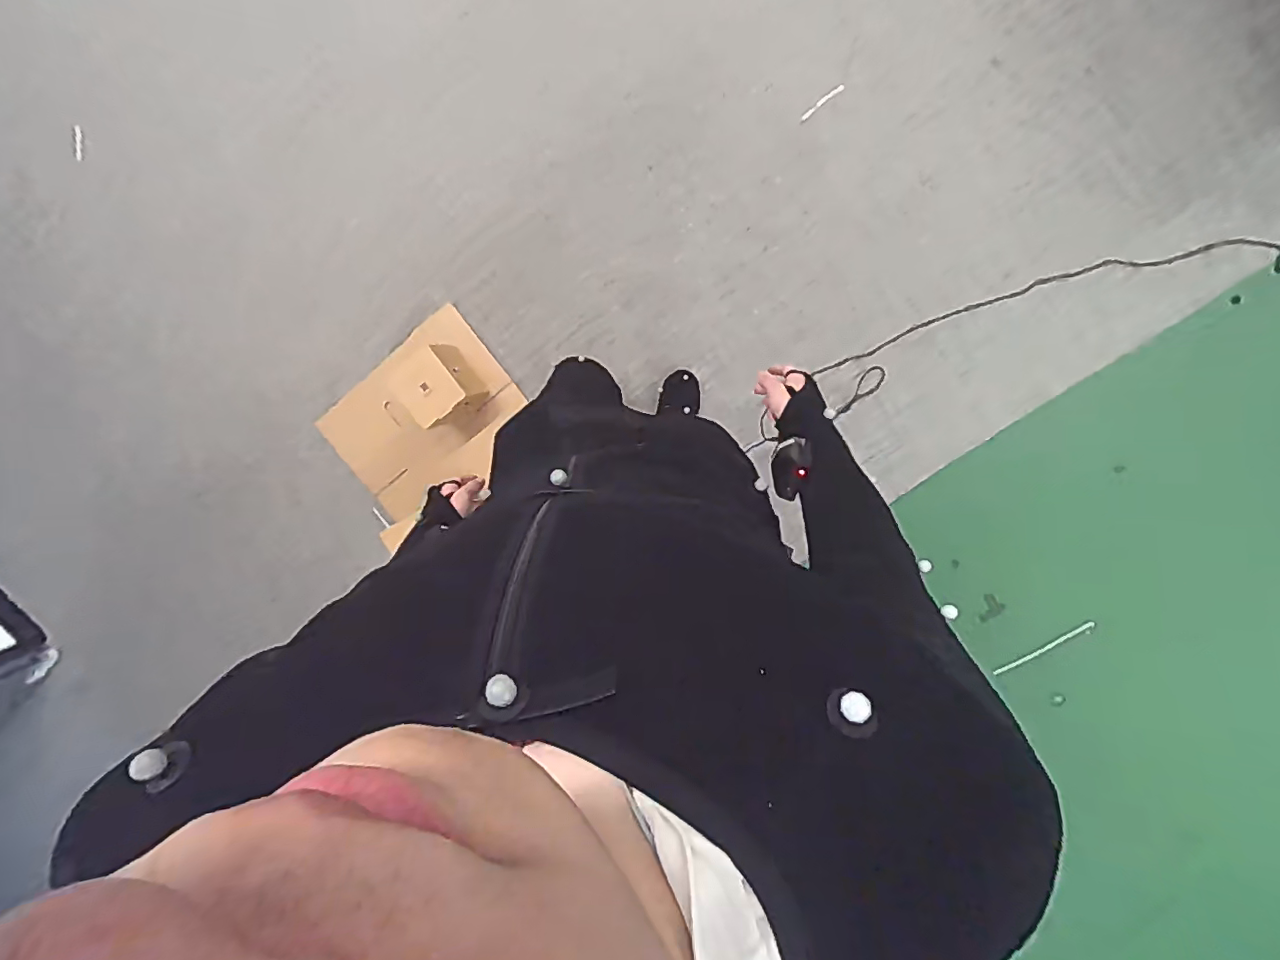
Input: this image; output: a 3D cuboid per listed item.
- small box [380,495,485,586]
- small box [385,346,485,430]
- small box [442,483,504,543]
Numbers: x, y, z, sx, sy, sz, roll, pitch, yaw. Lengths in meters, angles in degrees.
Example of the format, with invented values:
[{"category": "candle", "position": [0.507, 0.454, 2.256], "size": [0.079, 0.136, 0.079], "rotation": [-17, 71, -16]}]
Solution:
[{"category": "small box", "position": [-0.558, 0.155, 1.479], "size": [0.168, 0.176, 0.179], "rotation": [-28, 99, 12]}, {"category": "small box", "position": [-0.578, -0.271, 1.550], "size": [0.168, 0.176, 0.179], "rotation": [-35, 98, 13]}, {"category": "small box", "position": [-0.545, 0.122, 1.641], "size": [0.168, 0.176, 0.179], "rotation": [-28, 99, 12]}]
